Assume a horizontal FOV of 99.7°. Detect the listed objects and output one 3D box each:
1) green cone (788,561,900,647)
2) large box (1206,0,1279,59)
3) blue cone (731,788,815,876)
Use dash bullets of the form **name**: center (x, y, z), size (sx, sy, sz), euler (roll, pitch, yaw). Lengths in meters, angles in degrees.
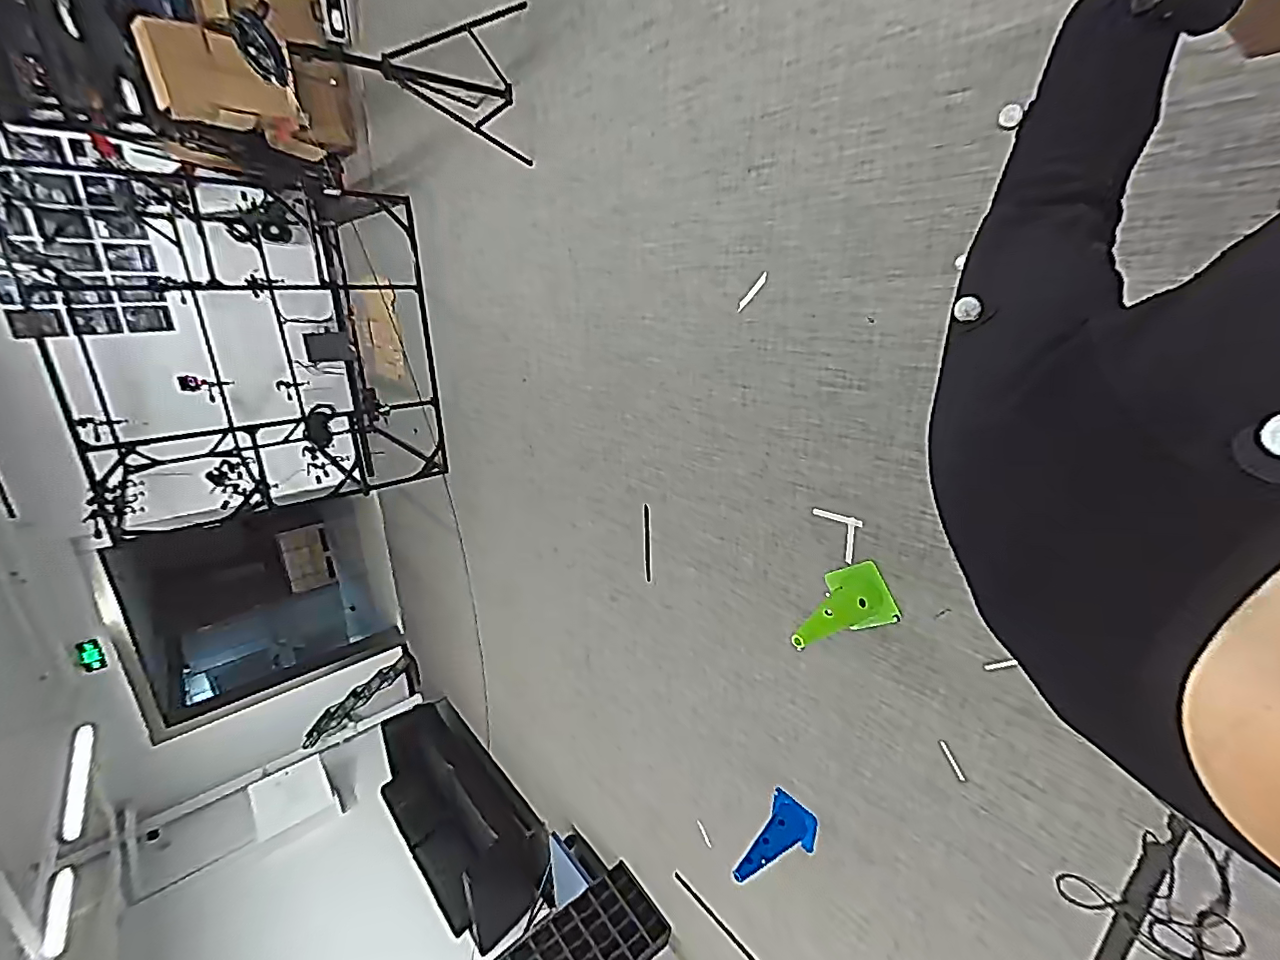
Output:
- **green cone**: center (0.573, 0.405, 1.622), size (0.202, 0.368, 0.200), euler (-38, 72, 52)
- **large box**: center (0.587, -0.466, 0.247), size (0.408, 0.320, 0.320), euler (19, 122, 46)
- **blue cone**: center (0.502, 1.421, 2.117), size (0.192, 0.380, 0.193), euler (26, 122, 46)
